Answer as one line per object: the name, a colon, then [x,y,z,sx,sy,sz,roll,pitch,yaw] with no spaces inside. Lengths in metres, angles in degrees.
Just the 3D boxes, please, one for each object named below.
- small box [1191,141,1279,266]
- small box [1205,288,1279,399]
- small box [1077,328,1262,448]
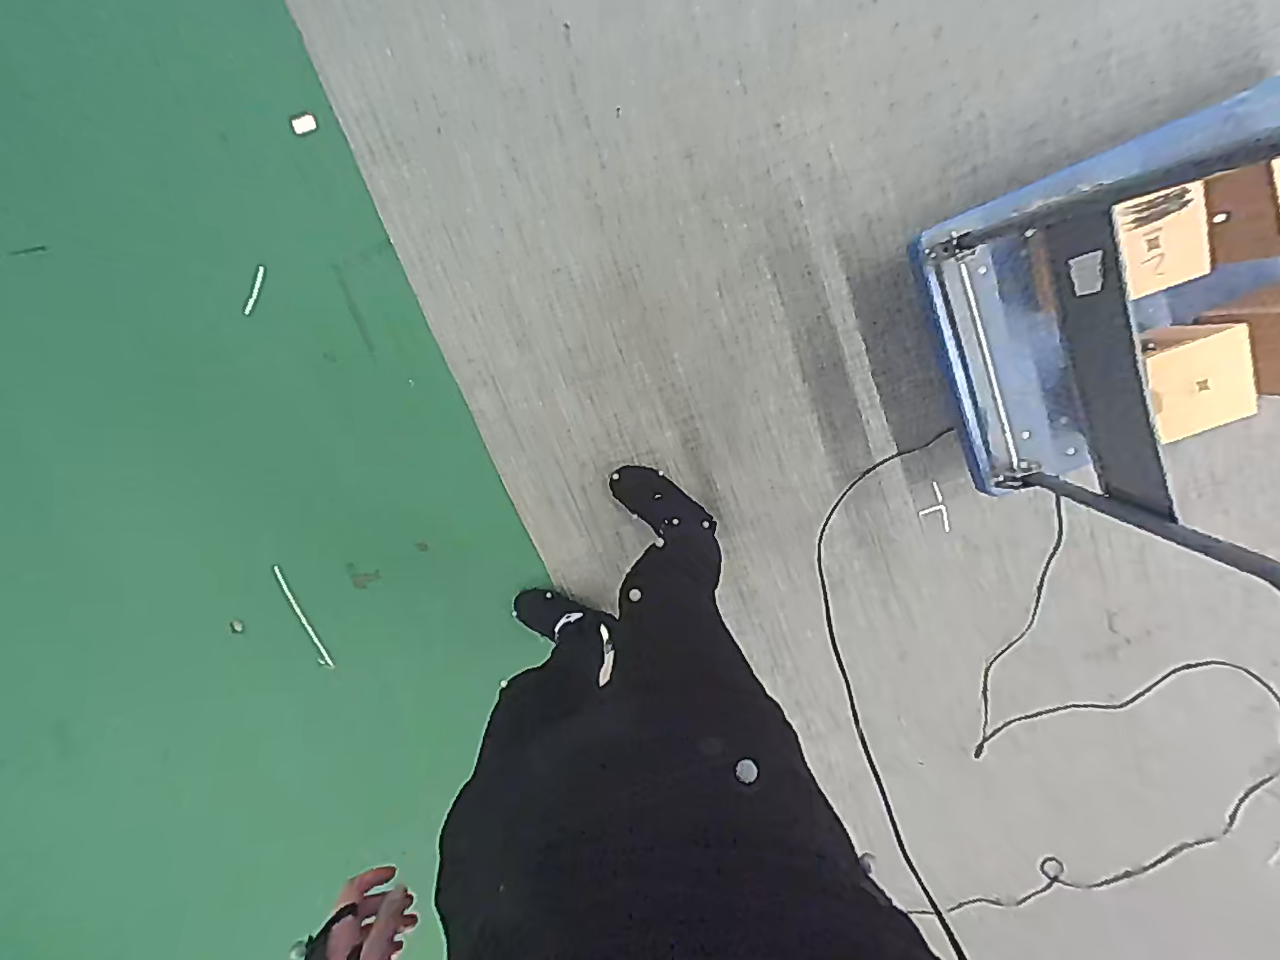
small box: [1.111,-0.489,0.929,0.179,0.176,0.168,-25,103,7]
small box: [1.209,-0.259,0.984,0.179,0.176,0.168,-23,102,7]
small box: [0.976,-0.176,1.010,0.179,0.176,0.168,-20,102,6]
